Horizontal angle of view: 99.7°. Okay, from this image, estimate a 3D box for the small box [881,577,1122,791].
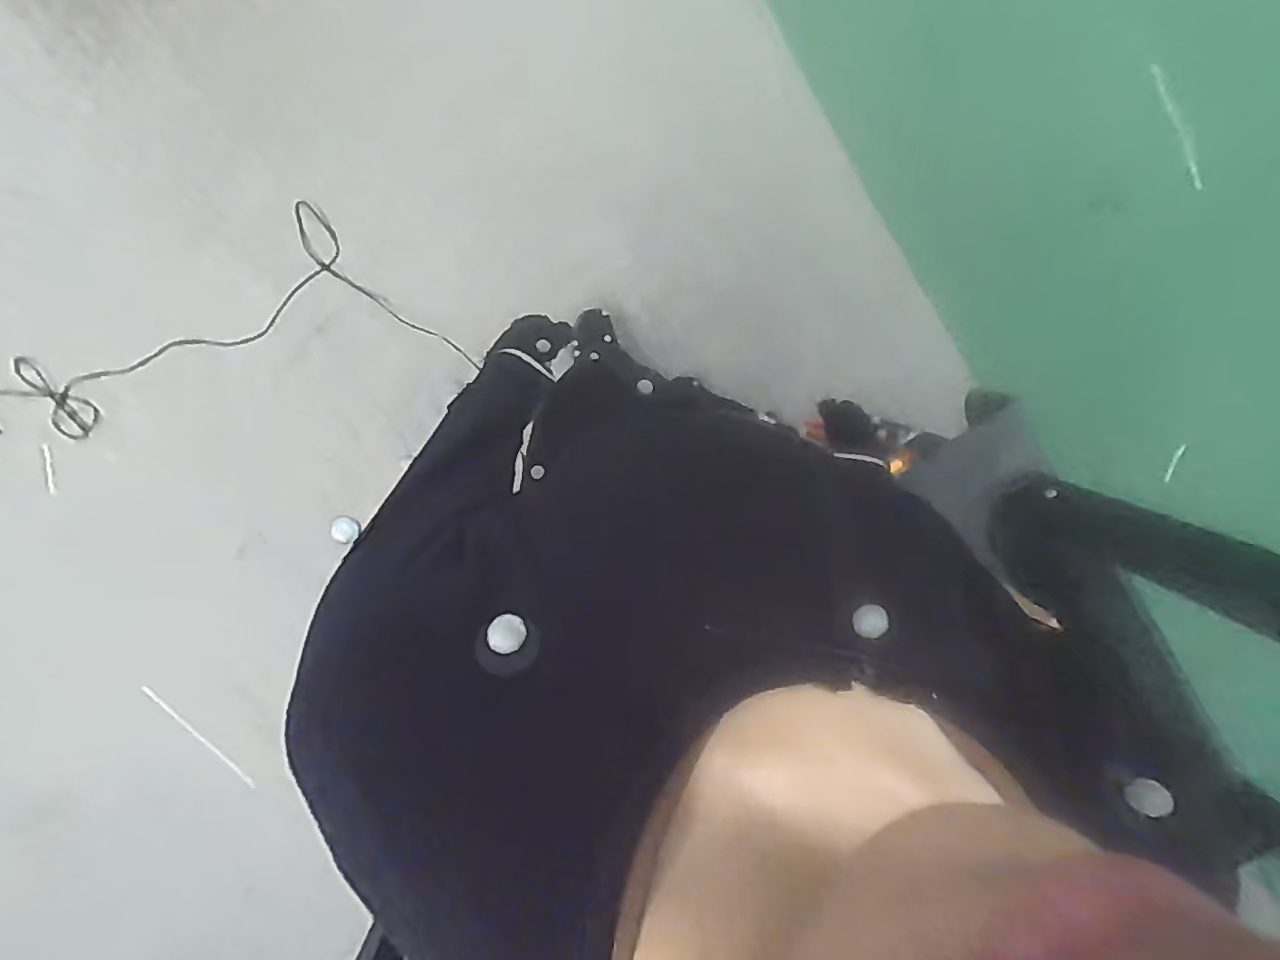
[{"bbox_3d":[0.455,0.251,0.713,0.168,0.176,0.179,-36,101,9],"label":"small box"}]
